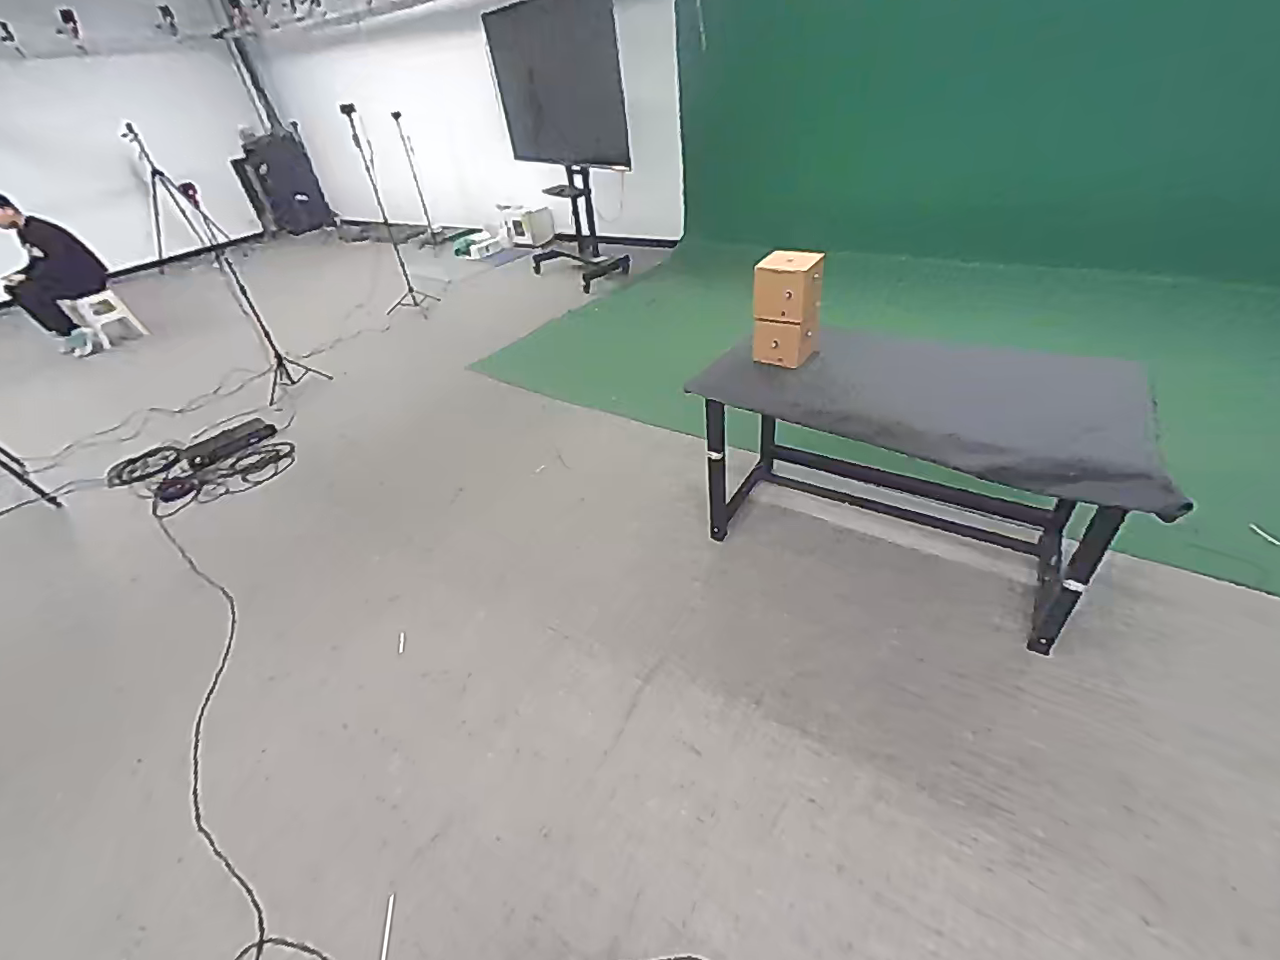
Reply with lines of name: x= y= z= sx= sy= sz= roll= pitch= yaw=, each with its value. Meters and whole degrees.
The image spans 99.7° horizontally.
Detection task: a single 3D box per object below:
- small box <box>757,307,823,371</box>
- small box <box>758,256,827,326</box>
small box: x=0.520 y=-0.497 z=1.878 sx=0.168 sy=0.176 sz=0.179 roll=20 pitch=45 yaw=30
small box: x=0.497 y=-0.618 z=1.770 sx=0.168 sy=0.176 sz=0.179 roll=19 pitch=43 yaw=28
